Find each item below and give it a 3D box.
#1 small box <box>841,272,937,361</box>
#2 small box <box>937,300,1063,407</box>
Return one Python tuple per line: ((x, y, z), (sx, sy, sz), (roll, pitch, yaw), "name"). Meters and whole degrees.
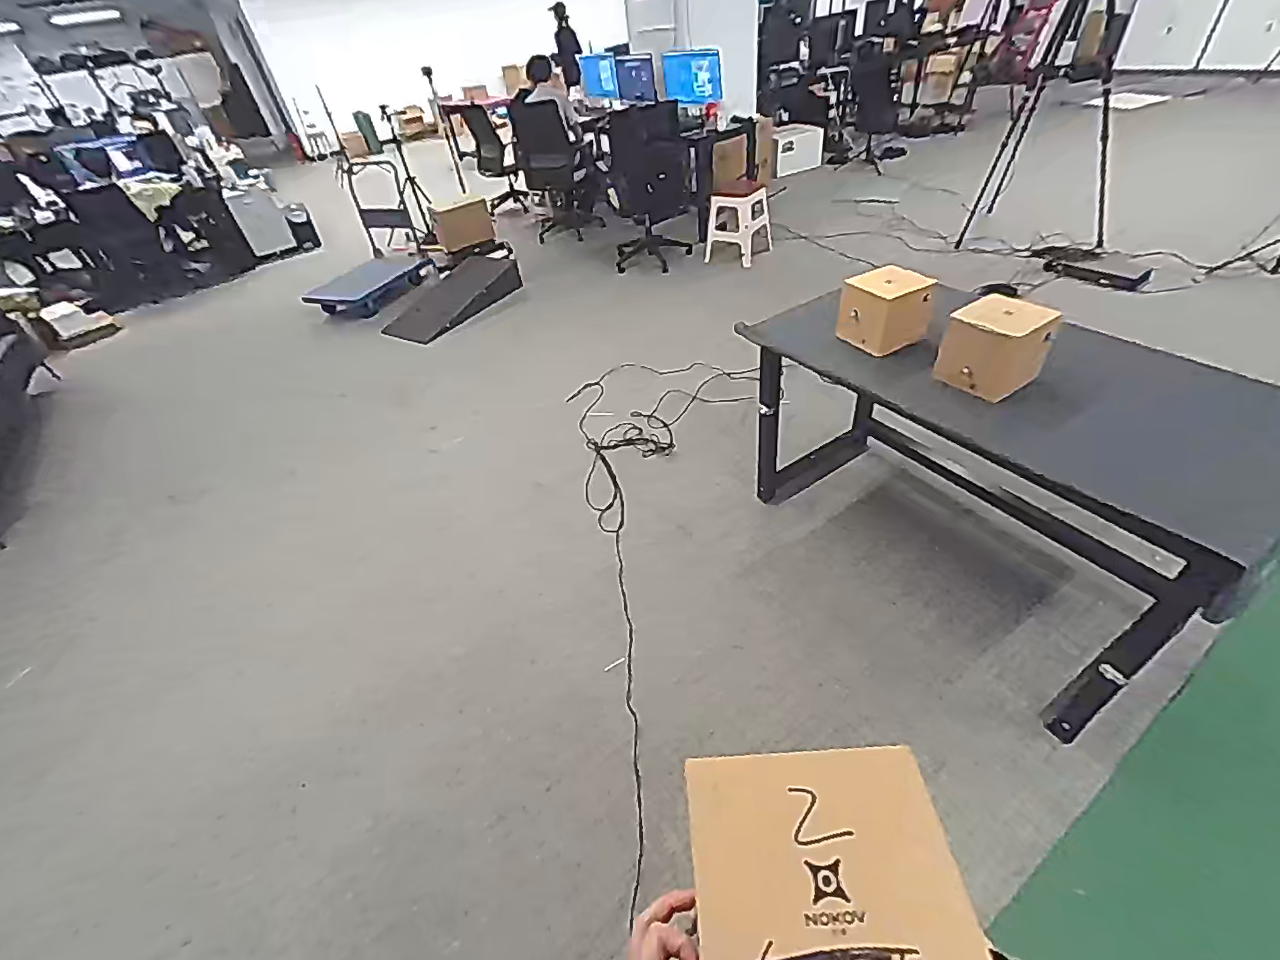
((0.675, -0.449, 1.490), (0.179, 0.176, 0.168), (-23, 42, -17), "small box")
((0.845, -0.302, 1.288), (0.179, 0.176, 0.168), (-27, 43, -20), "small box")
